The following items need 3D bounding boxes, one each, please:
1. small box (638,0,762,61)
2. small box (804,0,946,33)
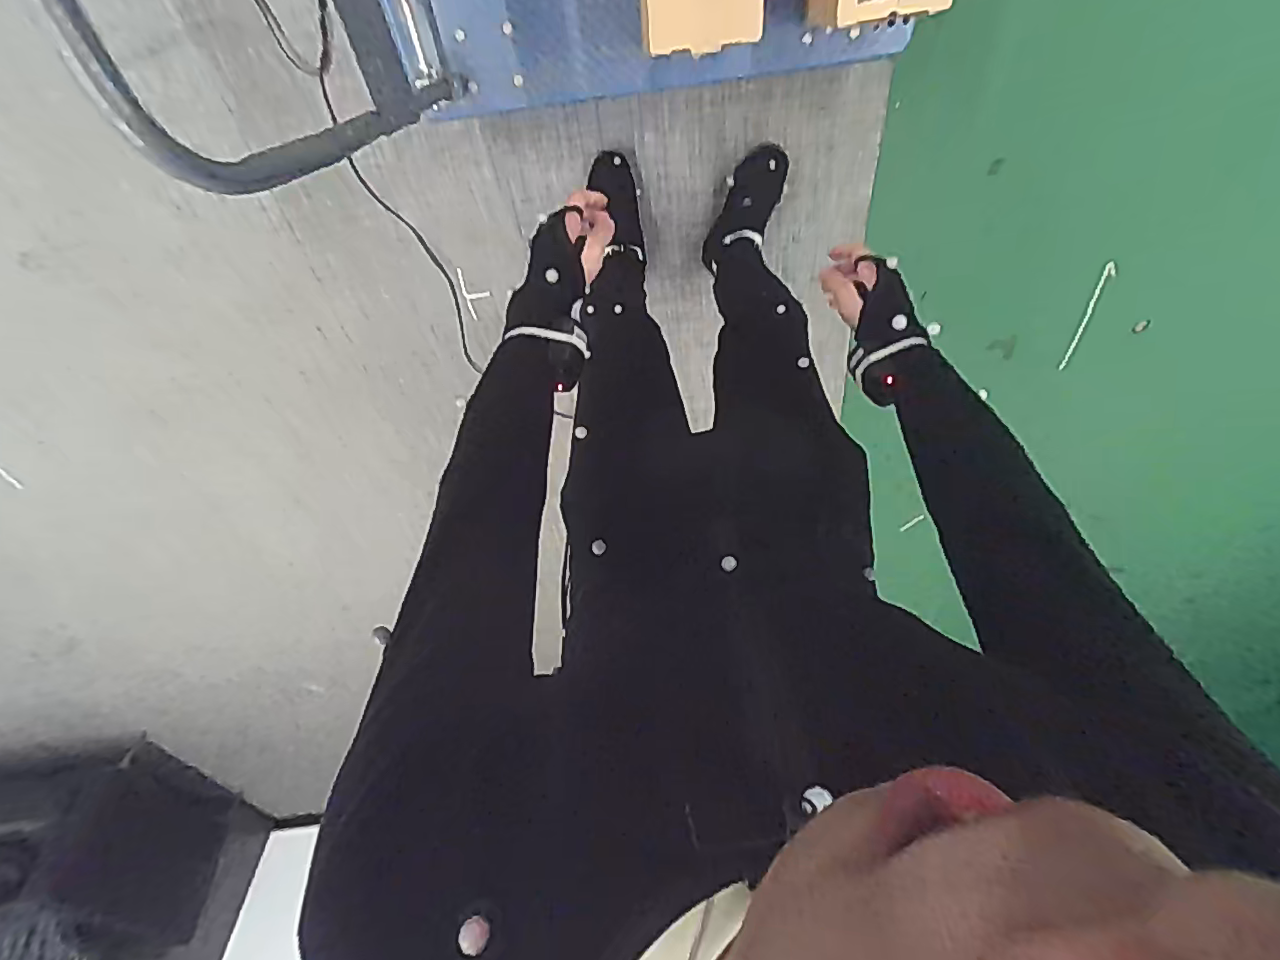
[{"bbox_3d":[0.084,-0.741,0.795,0.168,0.176,0.179,-6,131,0],"label":"small box"},{"bbox_3d":[0.349,-0.786,0.797,0.168,0.176,0.179,-8,130,2],"label":"small box"}]
